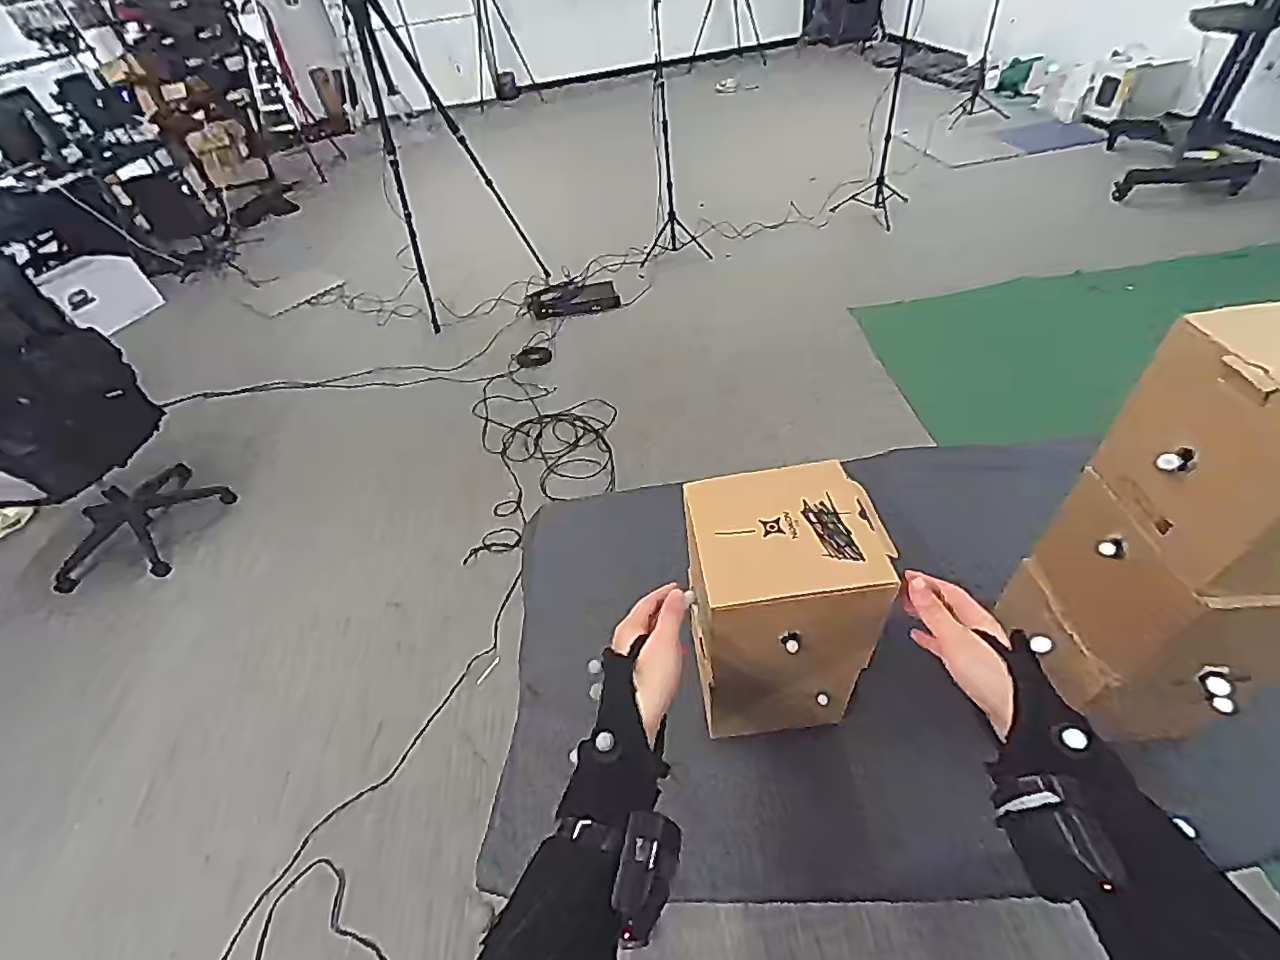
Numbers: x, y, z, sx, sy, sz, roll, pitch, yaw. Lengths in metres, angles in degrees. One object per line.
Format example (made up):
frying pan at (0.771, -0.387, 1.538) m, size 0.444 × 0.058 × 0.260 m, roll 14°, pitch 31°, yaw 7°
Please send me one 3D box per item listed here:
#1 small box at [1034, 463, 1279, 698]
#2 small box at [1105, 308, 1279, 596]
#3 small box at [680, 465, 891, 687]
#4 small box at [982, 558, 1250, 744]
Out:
small box at (0.541, 0.096, 0.539) m, size 0.168 × 0.176 × 0.179 m, roll -6°, pitch 45°, yaw 7°
small box at (0.521, -0.022, 0.427) m, size 0.179 × 0.176 × 0.168 m, roll -4°, pitch 44°, yaw 8°
small box at (0.143, 0.109, 0.596) m, size 0.179 × 0.176 × 0.168 m, roll -8°, pitch 45°, yaw 2°
small box at (0.562, 0.205, 0.658) m, size 0.179 × 0.176 × 0.168 m, roll -6°, pitch 44°, yaw 5°
